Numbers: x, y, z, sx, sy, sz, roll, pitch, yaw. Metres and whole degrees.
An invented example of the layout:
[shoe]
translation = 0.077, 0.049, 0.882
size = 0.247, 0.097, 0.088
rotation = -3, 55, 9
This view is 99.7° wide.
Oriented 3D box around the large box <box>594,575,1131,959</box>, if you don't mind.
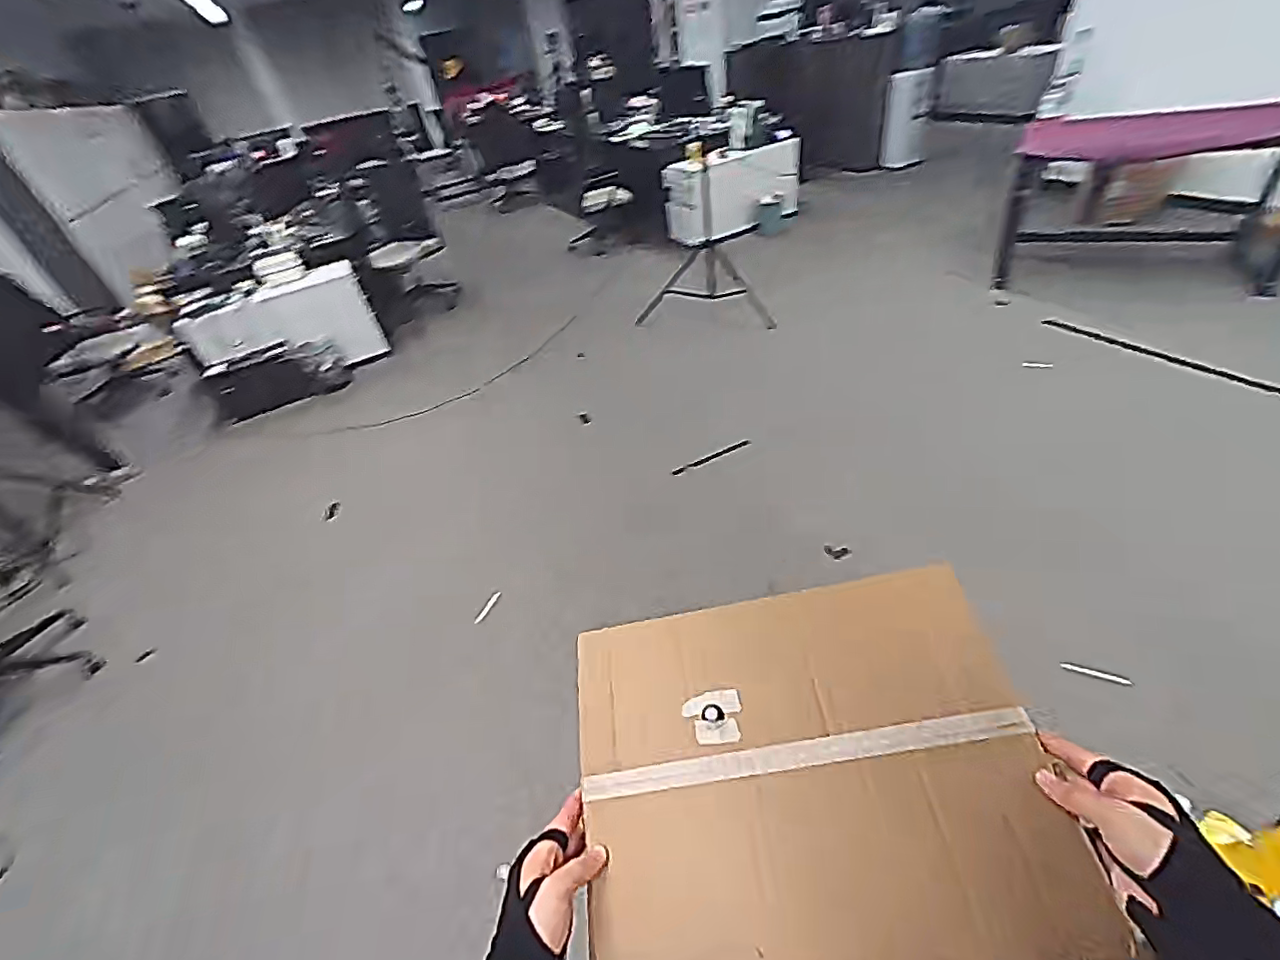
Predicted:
[large box]
translation = 0.190, 0.349, 0.622
size = 0.408, 0.320, 0.320
rotation = -13, 50, 8
